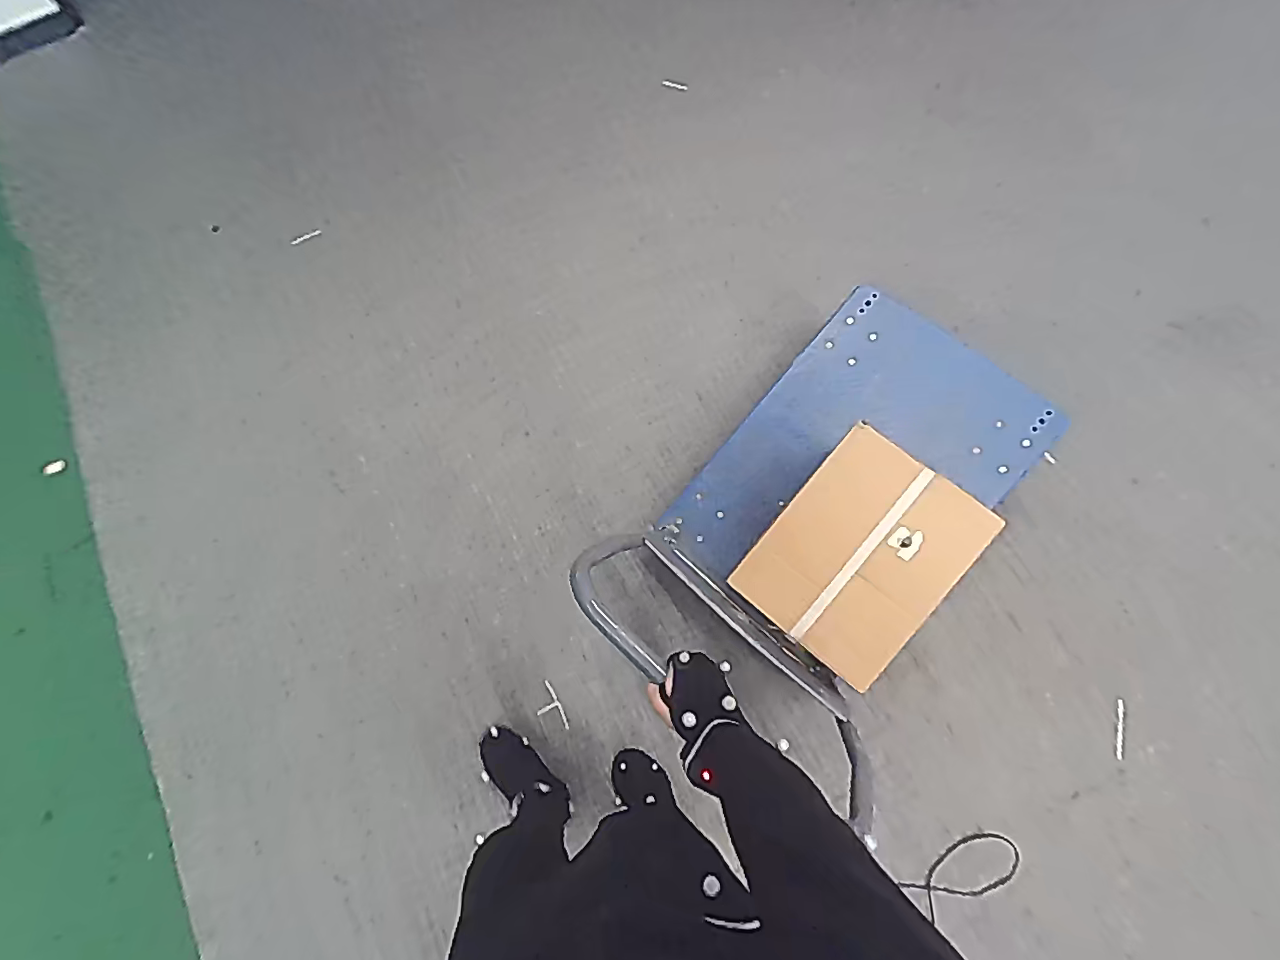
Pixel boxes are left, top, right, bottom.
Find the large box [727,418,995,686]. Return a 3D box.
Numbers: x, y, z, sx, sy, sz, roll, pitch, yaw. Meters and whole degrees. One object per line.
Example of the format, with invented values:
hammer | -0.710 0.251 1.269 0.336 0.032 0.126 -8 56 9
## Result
large box | 0.428 0.148 1.146 0.320 0.320 0.408 40 91 12
